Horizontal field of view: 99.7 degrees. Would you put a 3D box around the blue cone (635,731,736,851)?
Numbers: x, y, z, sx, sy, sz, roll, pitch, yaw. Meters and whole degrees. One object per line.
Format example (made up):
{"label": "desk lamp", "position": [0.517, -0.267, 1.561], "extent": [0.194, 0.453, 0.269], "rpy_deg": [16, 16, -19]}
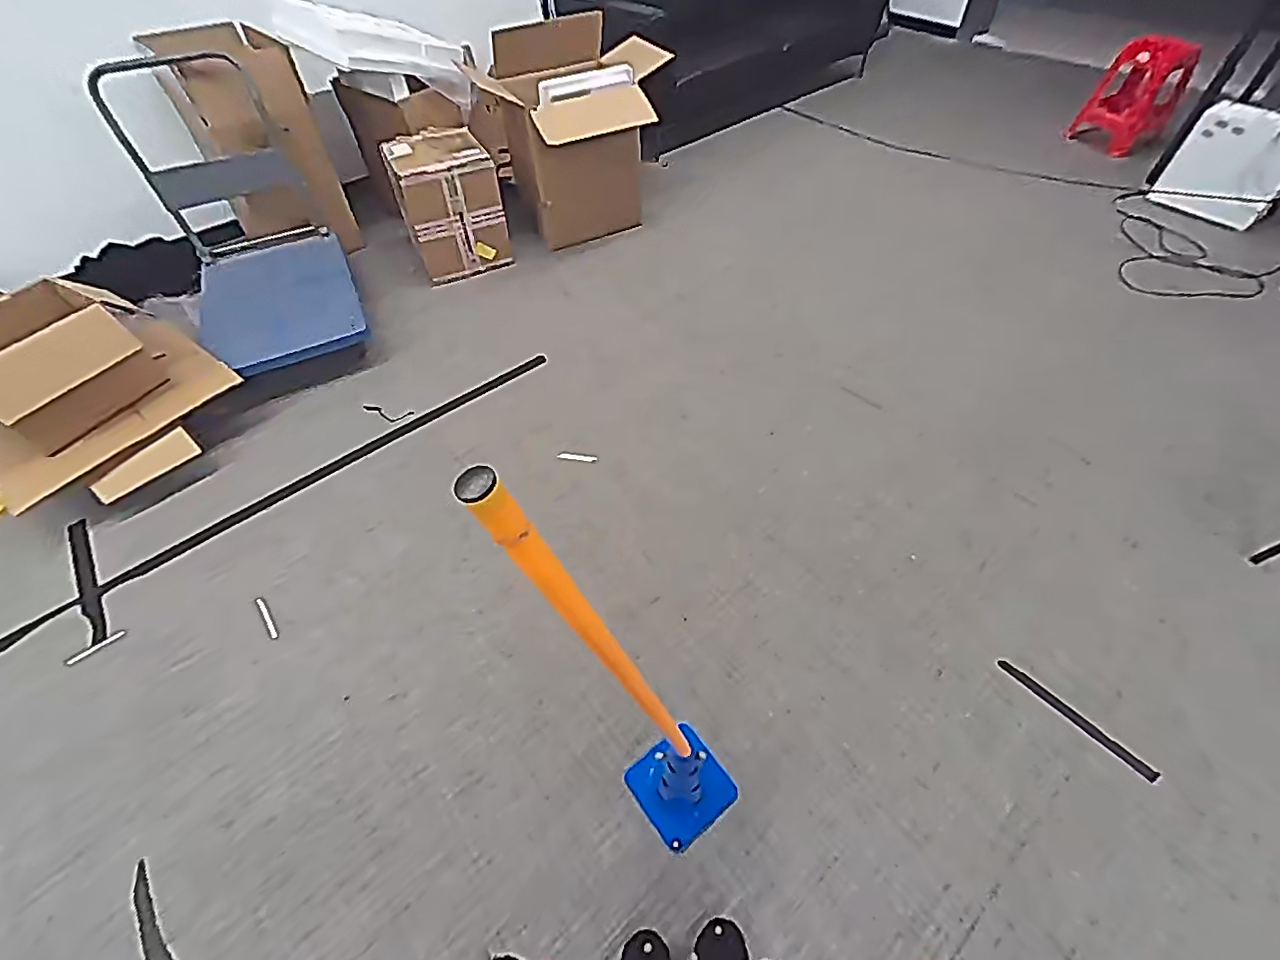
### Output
{"label": "blue cone", "position": [0.097, 0.600, 1.103], "extent": [0.193, 0.380, 0.192], "rpy_deg": [-31, 58, -20]}
